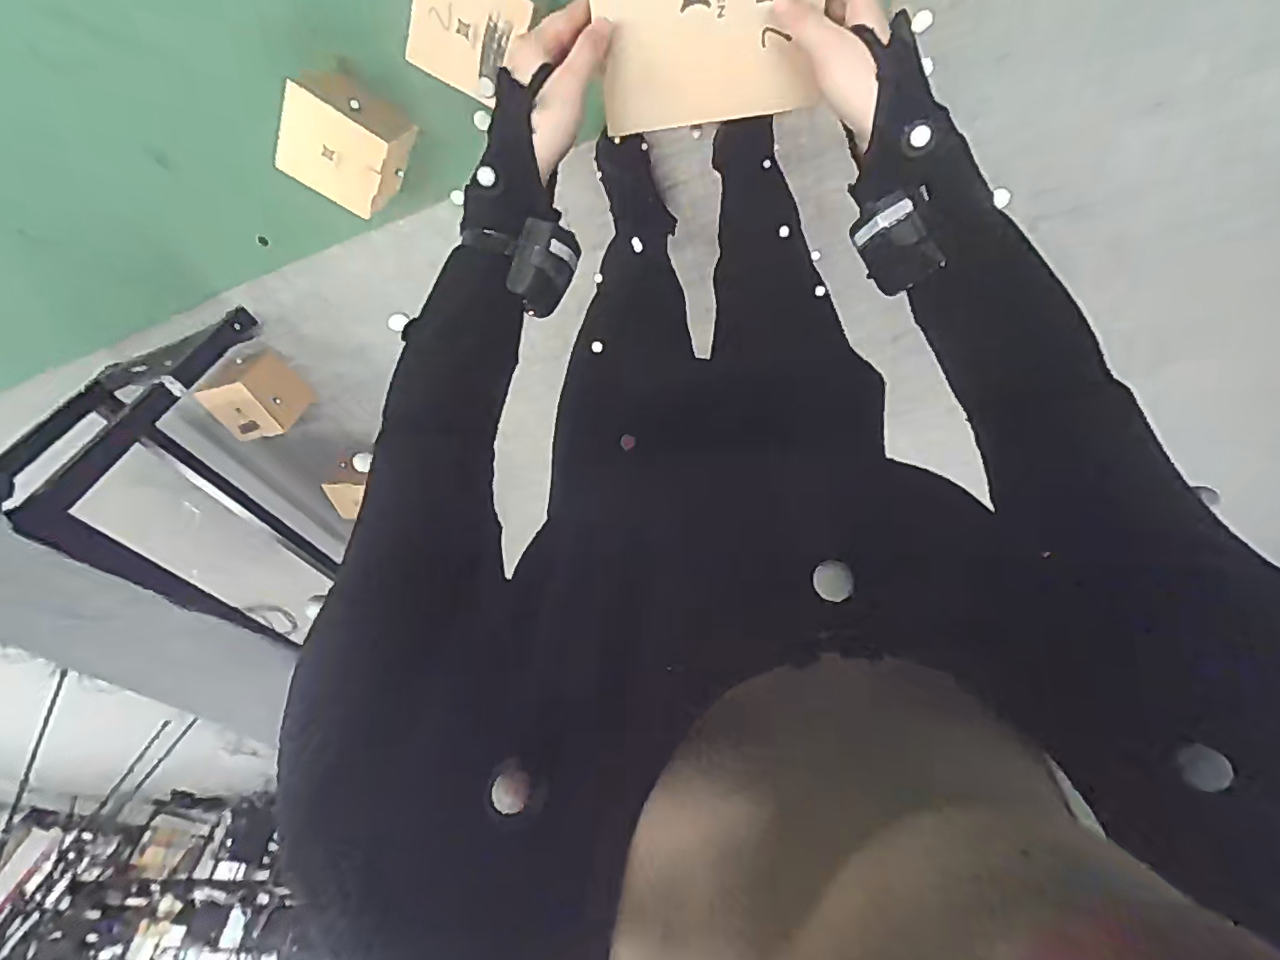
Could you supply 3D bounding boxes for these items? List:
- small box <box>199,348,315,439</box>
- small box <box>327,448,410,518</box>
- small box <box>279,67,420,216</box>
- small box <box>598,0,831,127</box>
[{"bbox_3d":[-1.075,-0.246,1.537,0.168,0.176,0.179,-9,135,13],"label":"small box"},{"bbox_3d":[-0.895,0.007,1.799,0.168,0.176,0.179,2,139,3],"label":"small box"},{"bbox_3d":[-0.559,-0.661,1.051,0.179,0.176,0.168,25,133,-23],"label":"small box"},{"bbox_3d":[0.057,-0.418,0.457,0.179,0.176,0.168,-5,132,6],"label":"small box"}]
